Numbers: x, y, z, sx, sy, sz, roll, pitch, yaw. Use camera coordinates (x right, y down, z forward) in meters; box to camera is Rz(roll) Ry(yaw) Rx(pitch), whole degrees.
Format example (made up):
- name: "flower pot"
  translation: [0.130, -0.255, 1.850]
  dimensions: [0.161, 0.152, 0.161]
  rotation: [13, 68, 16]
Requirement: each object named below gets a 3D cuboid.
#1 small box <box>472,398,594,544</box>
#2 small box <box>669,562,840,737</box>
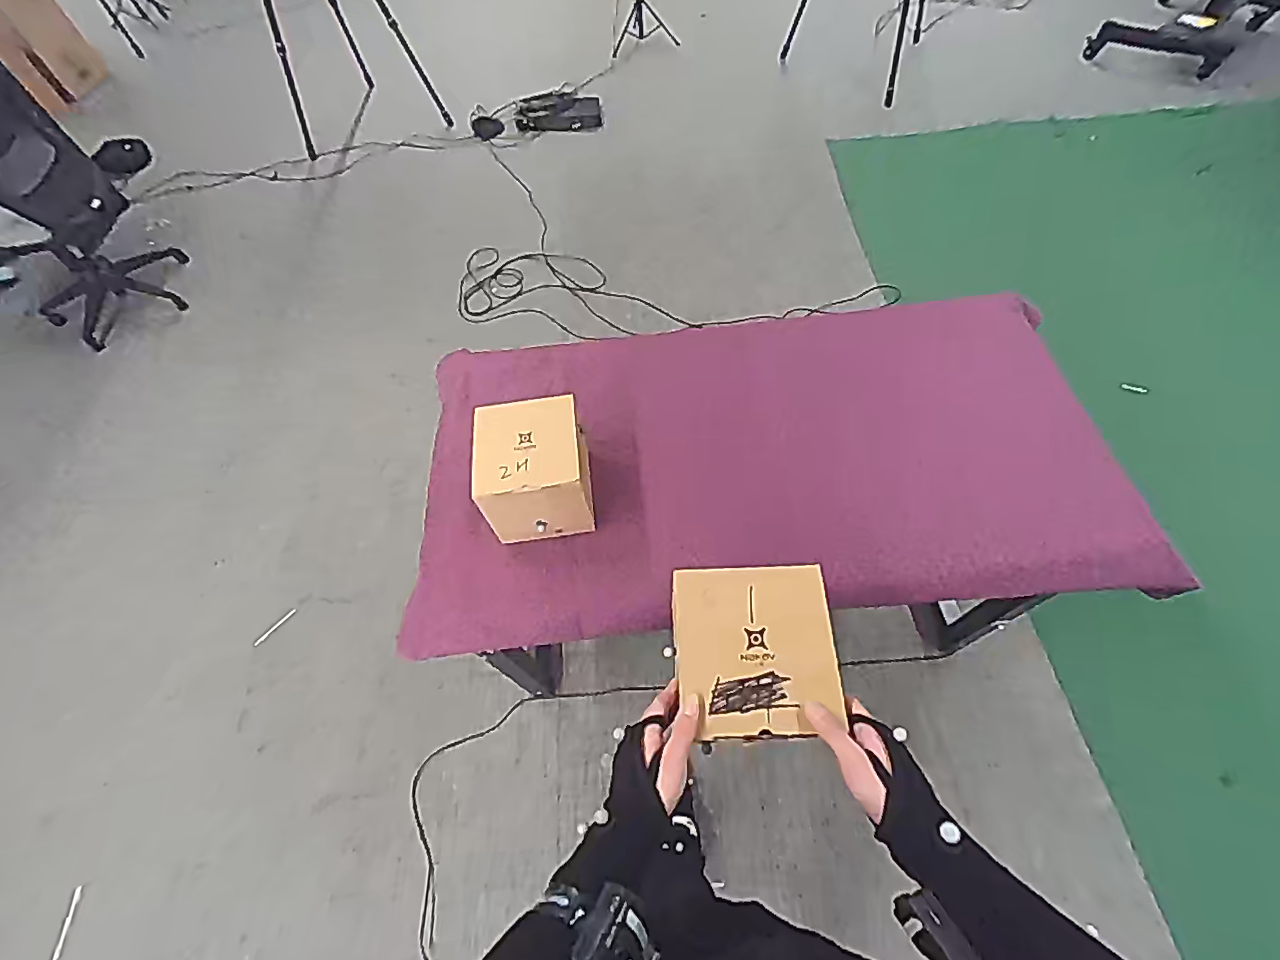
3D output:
- name: "small box"
  translation: [-0.174, -0.012, 0.916]
  dimensions: [0.168, 0.176, 0.179]
  rotation: [-8, 58, 0]
- name: "small box"
  translation: [0.120, 0.207, 0.640]
  dimensions: [0.168, 0.176, 0.179]
  rotation: [-2, 63, 2]
